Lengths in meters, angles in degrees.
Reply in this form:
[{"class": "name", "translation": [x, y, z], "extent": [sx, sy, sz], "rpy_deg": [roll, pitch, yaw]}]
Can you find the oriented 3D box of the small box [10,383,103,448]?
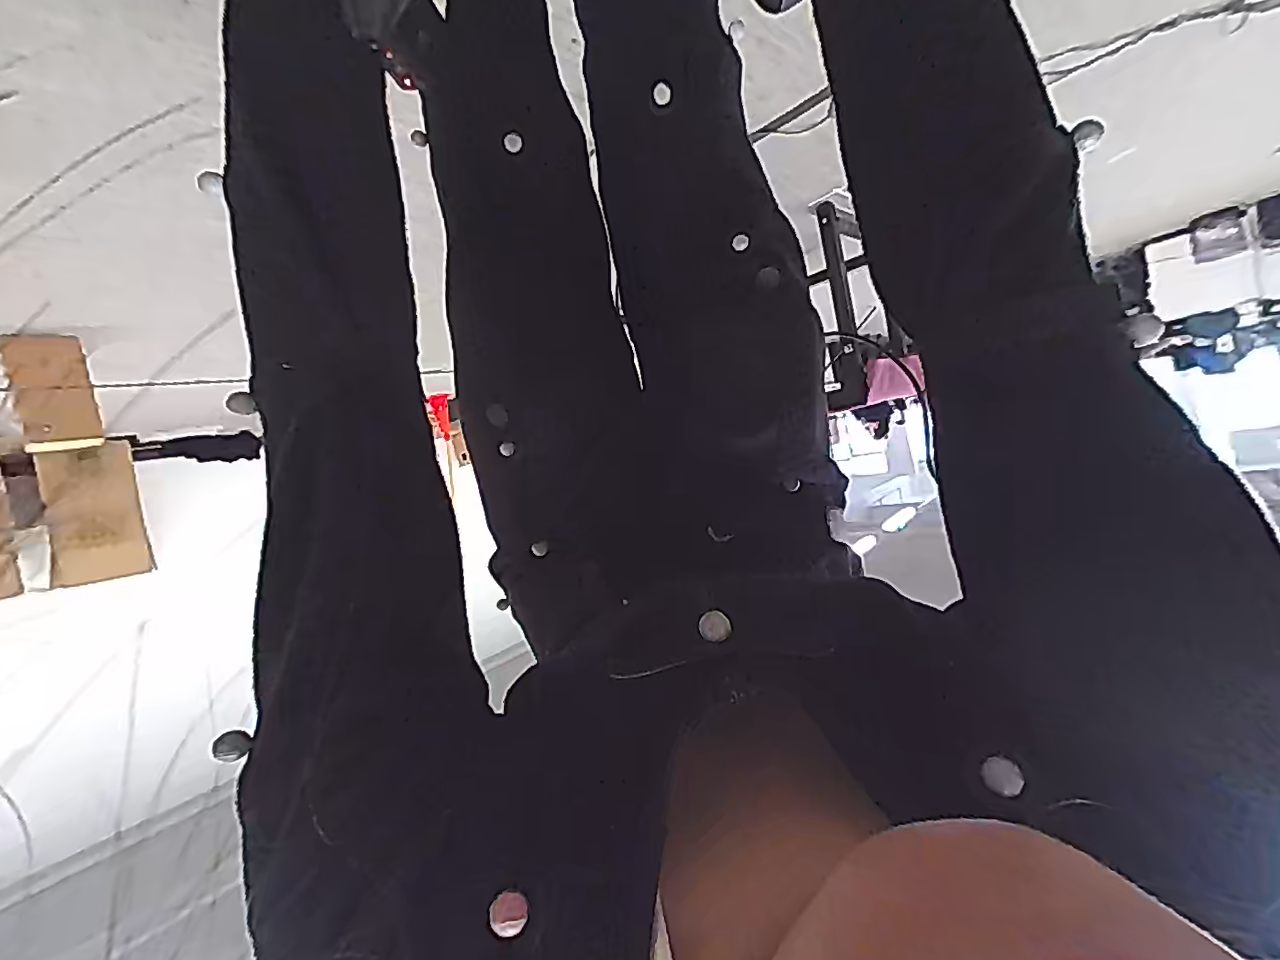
[{"class": "small box", "translation": [-1.868, -0.208, 1.728], "extent": [0.168, 0.176, 0.179], "rpy_deg": [-8, -174, 40]}]
